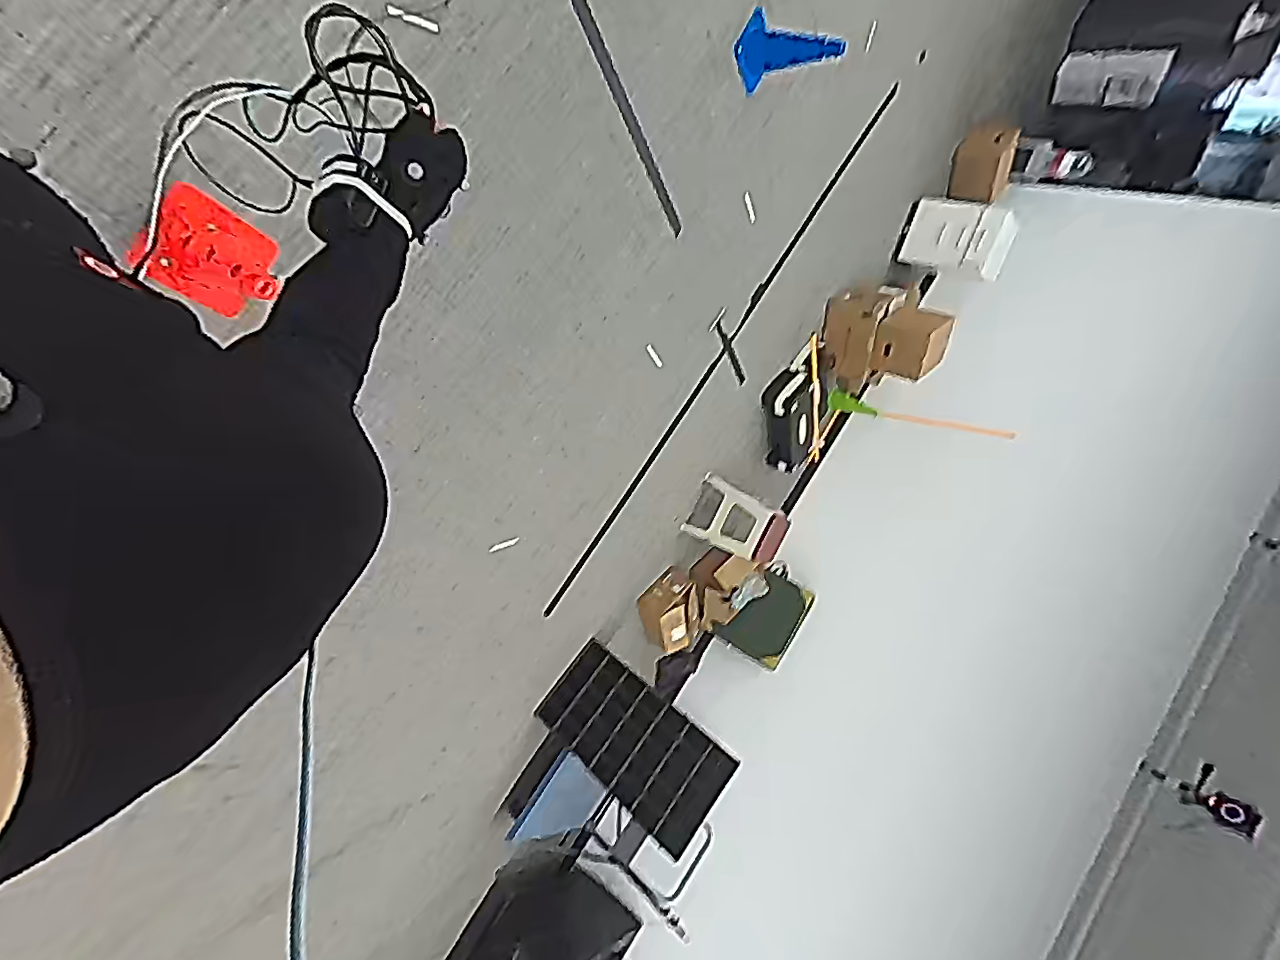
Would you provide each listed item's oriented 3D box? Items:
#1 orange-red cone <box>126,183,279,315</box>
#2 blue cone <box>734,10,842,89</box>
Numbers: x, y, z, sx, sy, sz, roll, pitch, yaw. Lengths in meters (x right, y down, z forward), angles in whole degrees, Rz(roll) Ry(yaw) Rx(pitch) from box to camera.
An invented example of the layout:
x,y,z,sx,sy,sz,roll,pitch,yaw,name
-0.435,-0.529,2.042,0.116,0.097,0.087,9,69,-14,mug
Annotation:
x,y,z,sx,sy,sz,roll,pitch,yaw,name
-0.763,-0.396,1.016,0.198,0.360,0.199,-58,148,-4,orange-red cone
0.542,-1.537,1.926,0.192,0.380,0.193,-59,147,-3,blue cone
